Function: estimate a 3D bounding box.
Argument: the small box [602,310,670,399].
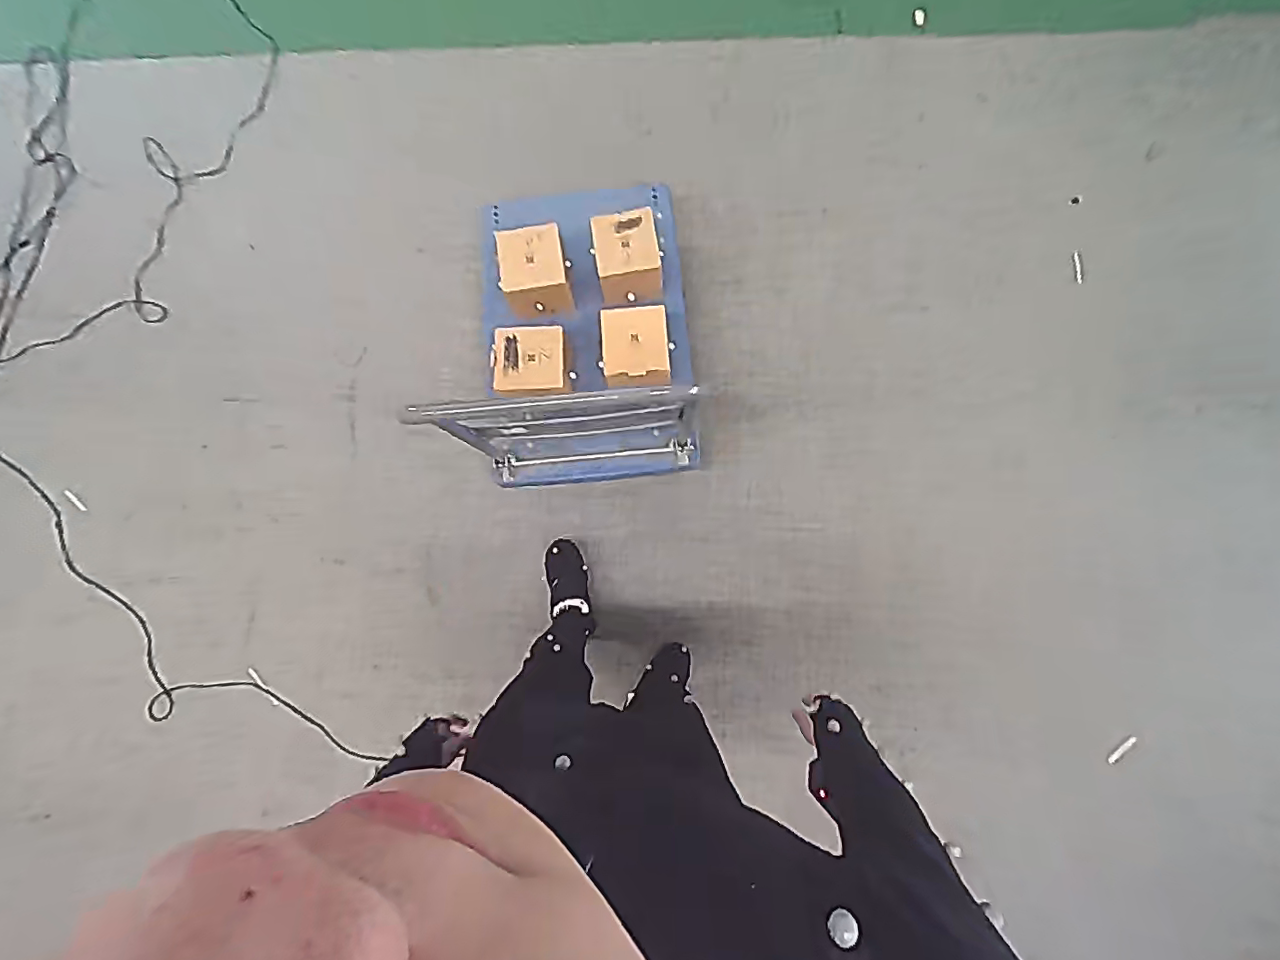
[{"bbox_3d":[-0.010,-0.328,1.438,0.168,0.176,0.179,-4,81,1],"label":"small box"}]

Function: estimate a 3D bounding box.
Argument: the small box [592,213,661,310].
[{"bbox_3d":[-0.034,-0.594,1.482,0.168,0.176,0.179,-9,81,2],"label":"small box"}]

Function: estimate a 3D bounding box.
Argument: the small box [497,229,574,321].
[{"bbox_3d":[-0.282,-0.553,1.486,0.168,0.176,0.179,-9,80,0],"label":"small box"}]
